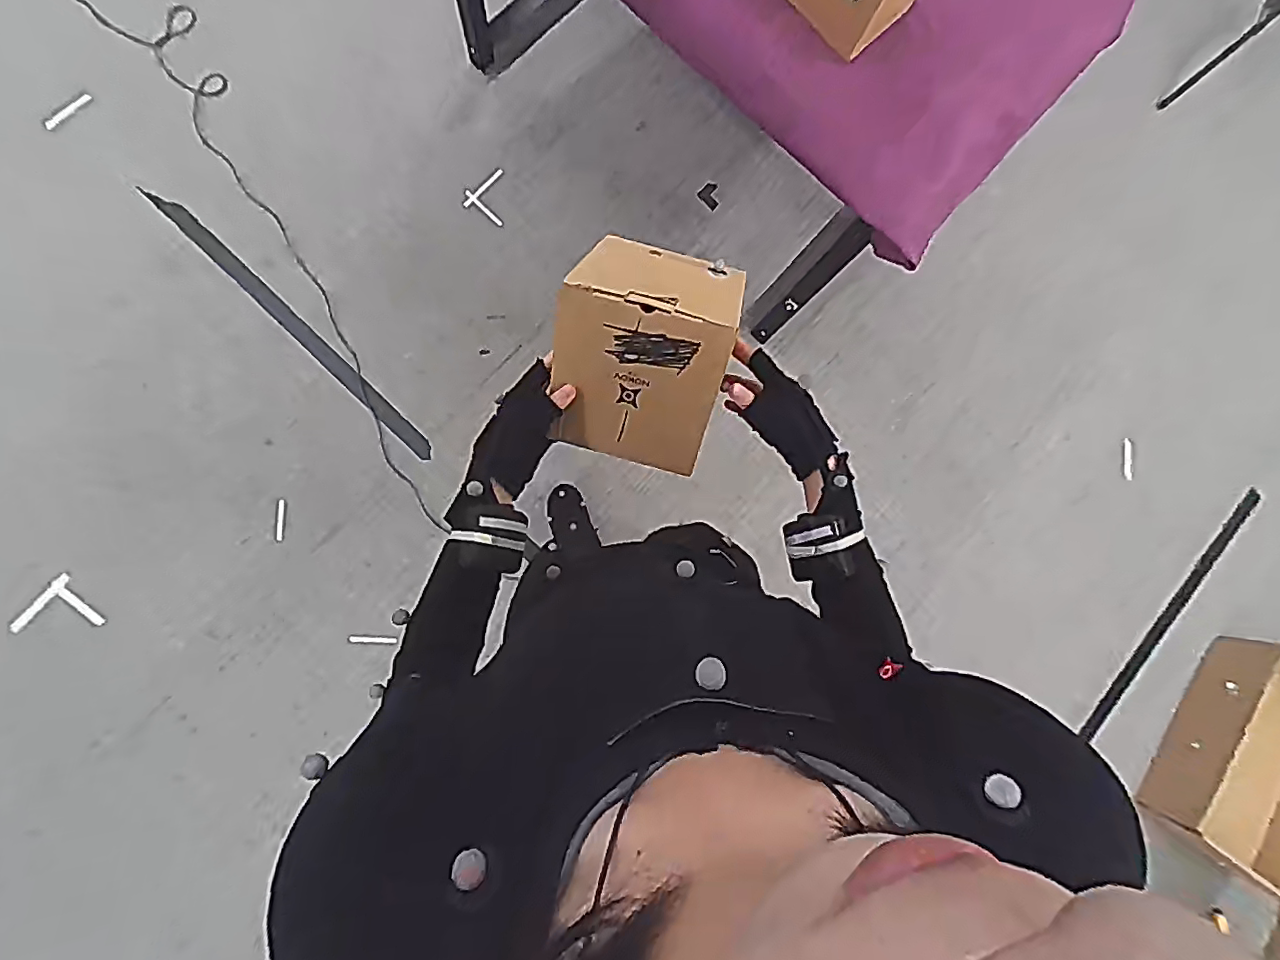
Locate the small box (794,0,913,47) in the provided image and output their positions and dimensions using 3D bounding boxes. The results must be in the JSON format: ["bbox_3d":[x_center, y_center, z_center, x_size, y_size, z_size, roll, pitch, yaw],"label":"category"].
[{"bbox_3d":[0.350,-0.811,0.816,0.179,0.176,0.168,45,80,0],"label":"small box"}]
